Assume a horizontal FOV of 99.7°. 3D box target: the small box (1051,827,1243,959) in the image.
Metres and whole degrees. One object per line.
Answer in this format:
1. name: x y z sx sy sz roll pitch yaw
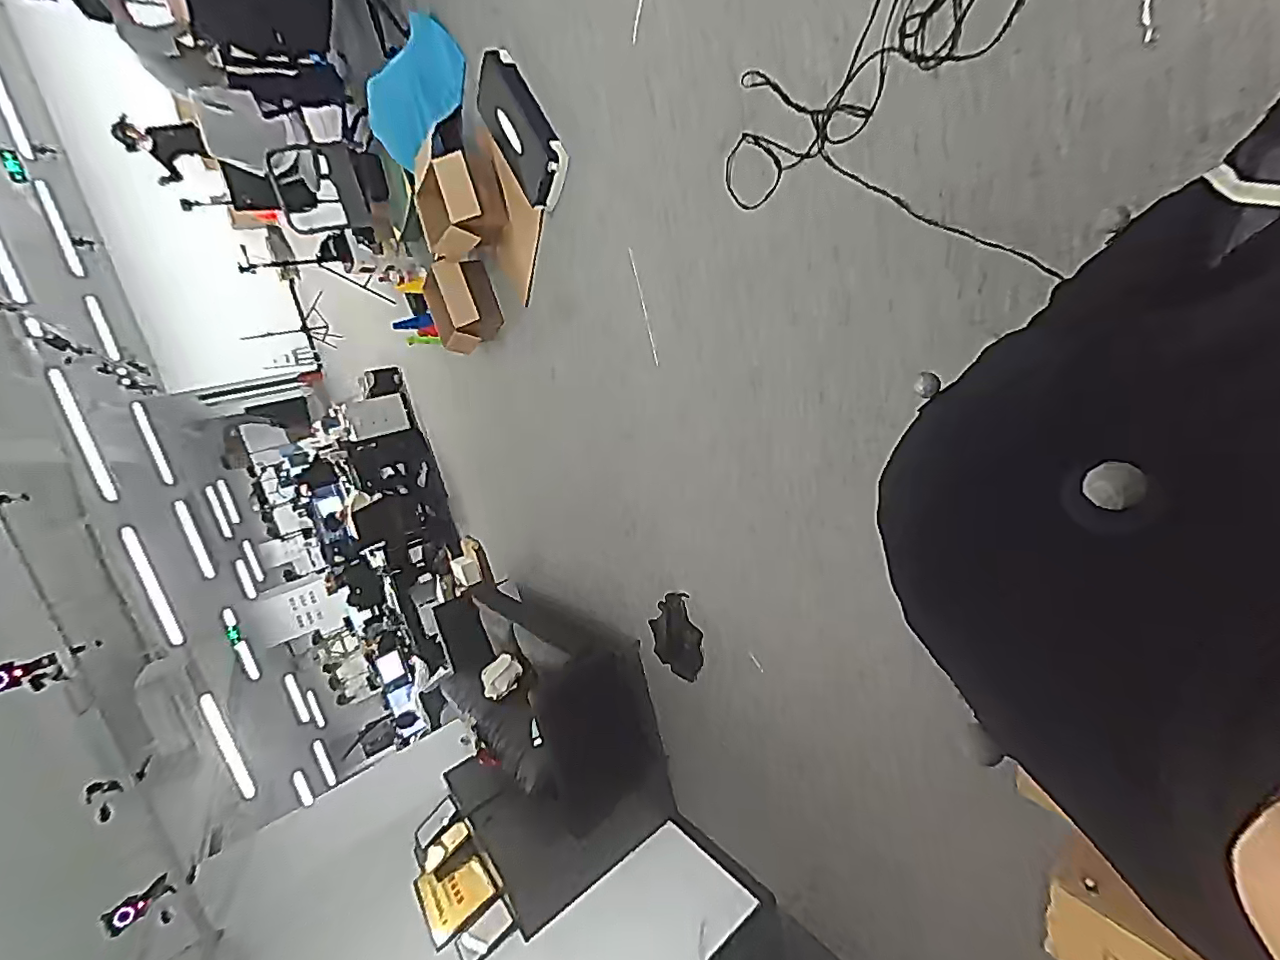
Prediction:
1. small box: 0.761 0.680 0.817 0.179 0.176 0.168 15 122 53
